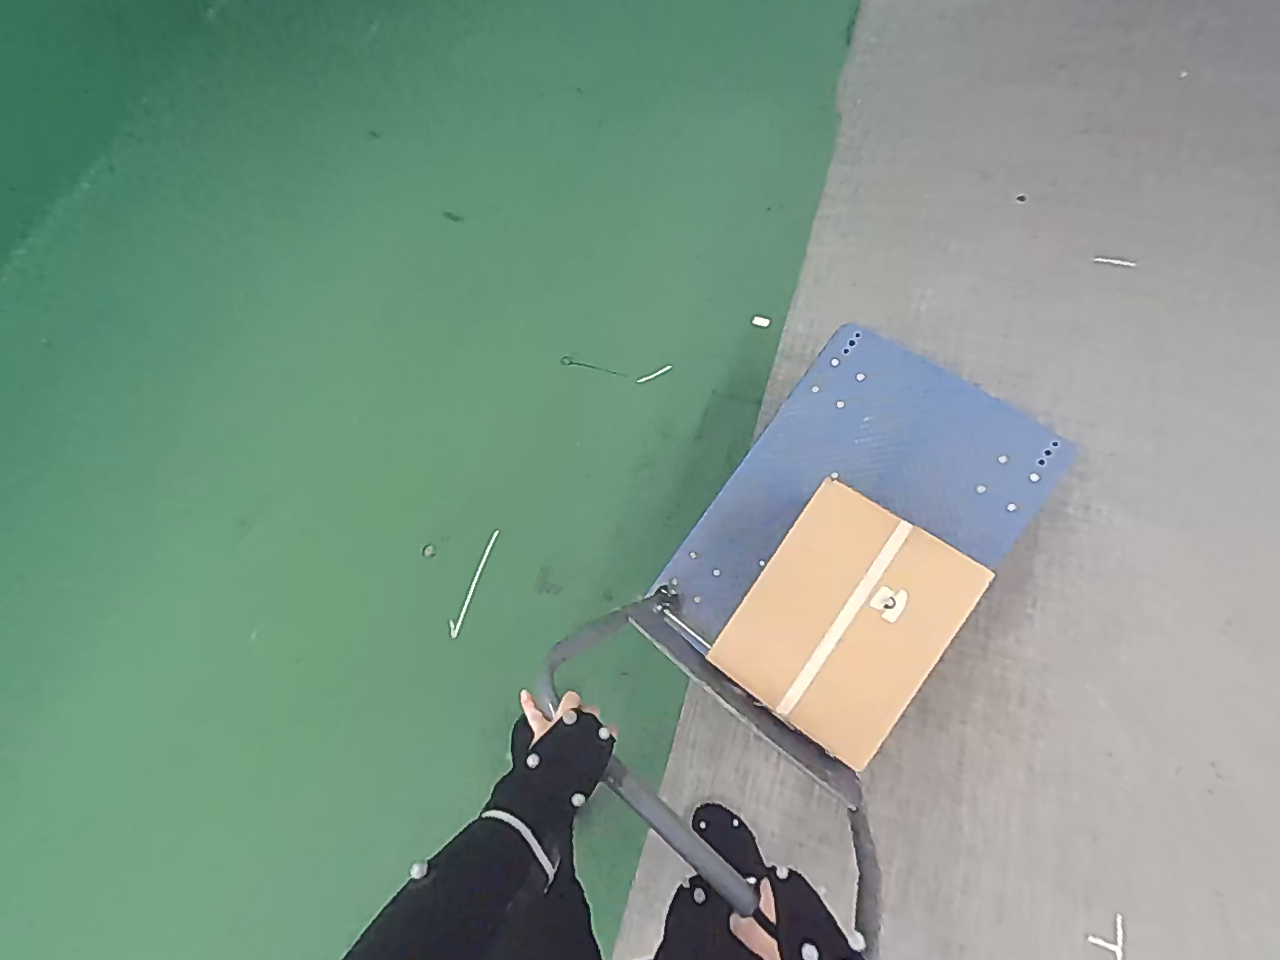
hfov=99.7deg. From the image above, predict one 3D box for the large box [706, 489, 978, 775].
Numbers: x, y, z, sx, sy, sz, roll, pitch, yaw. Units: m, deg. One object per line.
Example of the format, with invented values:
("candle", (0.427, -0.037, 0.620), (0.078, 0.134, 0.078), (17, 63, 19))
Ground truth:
("large box", (0.384, 0.287, 1.101), (0.320, 0.320, 0.408), (34, 89, 17))
